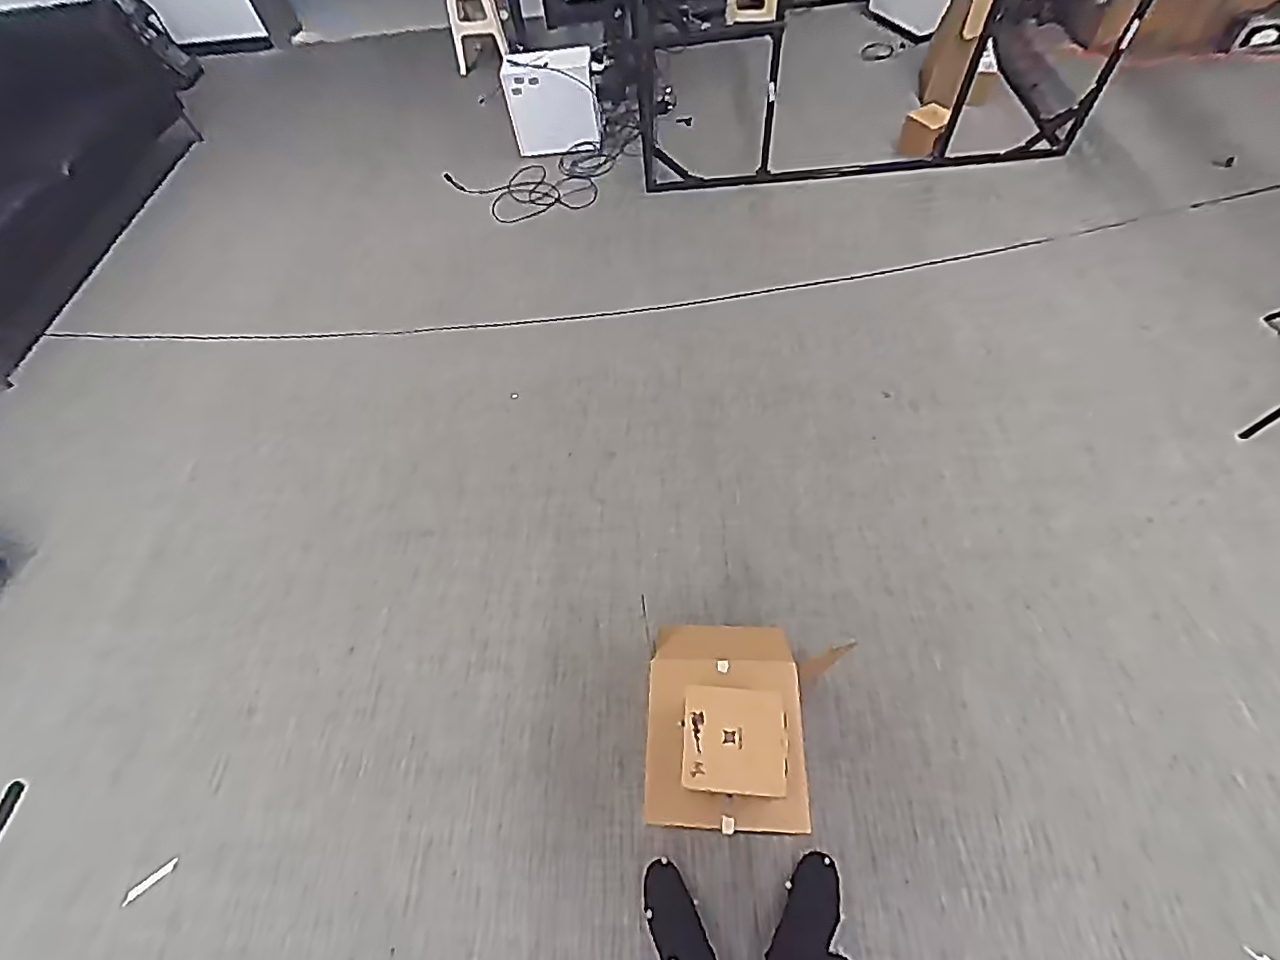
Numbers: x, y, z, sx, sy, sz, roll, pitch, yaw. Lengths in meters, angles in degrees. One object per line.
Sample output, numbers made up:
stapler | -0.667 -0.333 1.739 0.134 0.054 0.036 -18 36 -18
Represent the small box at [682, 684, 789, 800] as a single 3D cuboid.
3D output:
small box | 0.170 0.481 0.991 0.179 0.176 0.168 3 60 7
